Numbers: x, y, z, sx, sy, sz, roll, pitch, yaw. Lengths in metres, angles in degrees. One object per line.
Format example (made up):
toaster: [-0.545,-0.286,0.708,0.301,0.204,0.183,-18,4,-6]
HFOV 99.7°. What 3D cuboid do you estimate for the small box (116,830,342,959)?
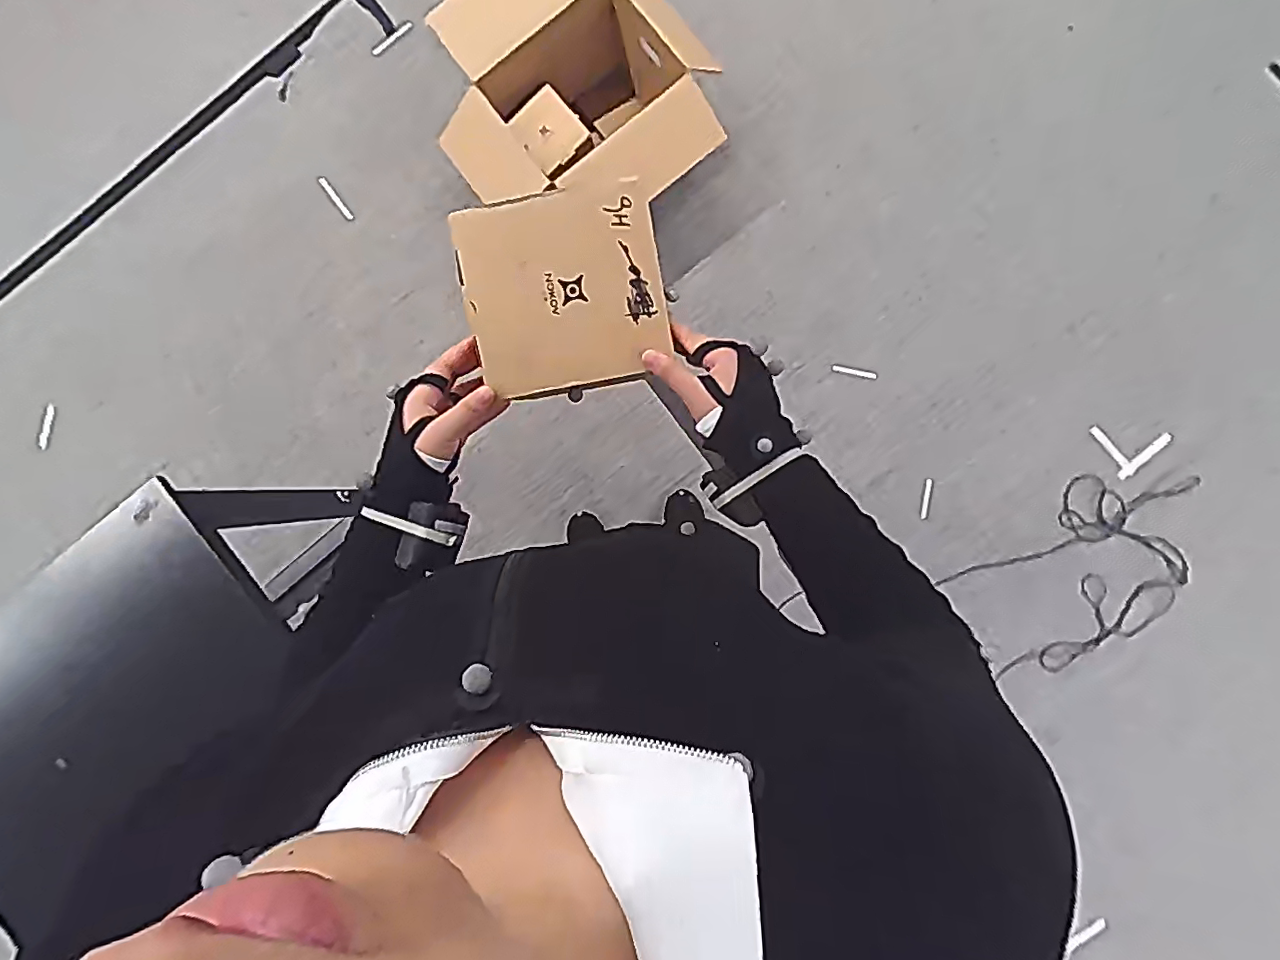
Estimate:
small box: [-0.550,0.626,0.721,0.179,0.176,0.168,-38,88,1]

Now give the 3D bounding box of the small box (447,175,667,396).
small box: [-0.069,-0.181,0.558,0.179,0.176,0.168,-10,98,3]
